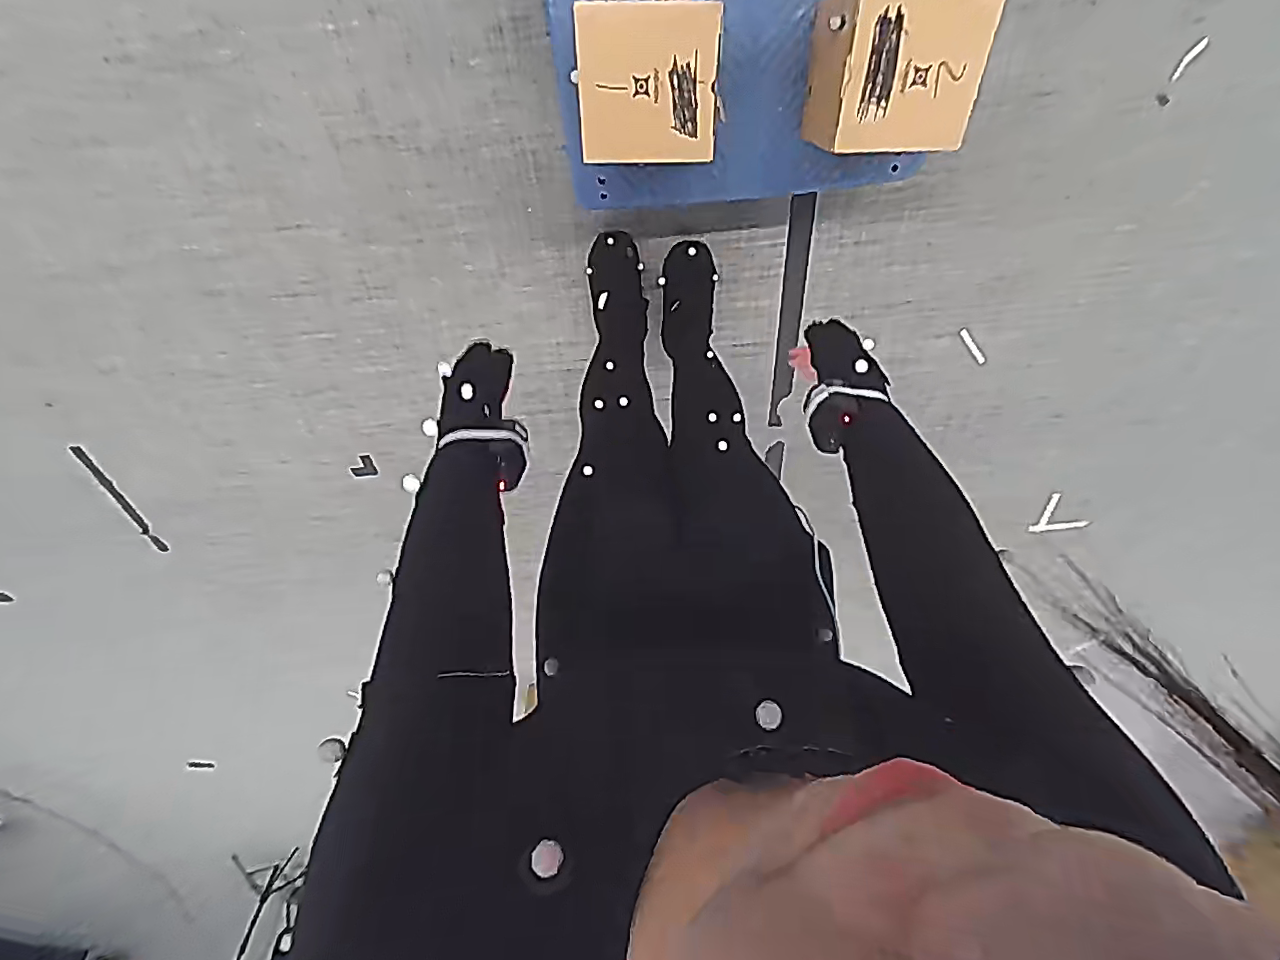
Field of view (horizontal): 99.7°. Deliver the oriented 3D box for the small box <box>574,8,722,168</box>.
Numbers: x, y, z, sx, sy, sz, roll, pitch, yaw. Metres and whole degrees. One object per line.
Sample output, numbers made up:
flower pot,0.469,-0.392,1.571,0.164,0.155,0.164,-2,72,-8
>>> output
small box,0.008,-0.534,0.737,0.179,0.176,0.168,-1,129,0
